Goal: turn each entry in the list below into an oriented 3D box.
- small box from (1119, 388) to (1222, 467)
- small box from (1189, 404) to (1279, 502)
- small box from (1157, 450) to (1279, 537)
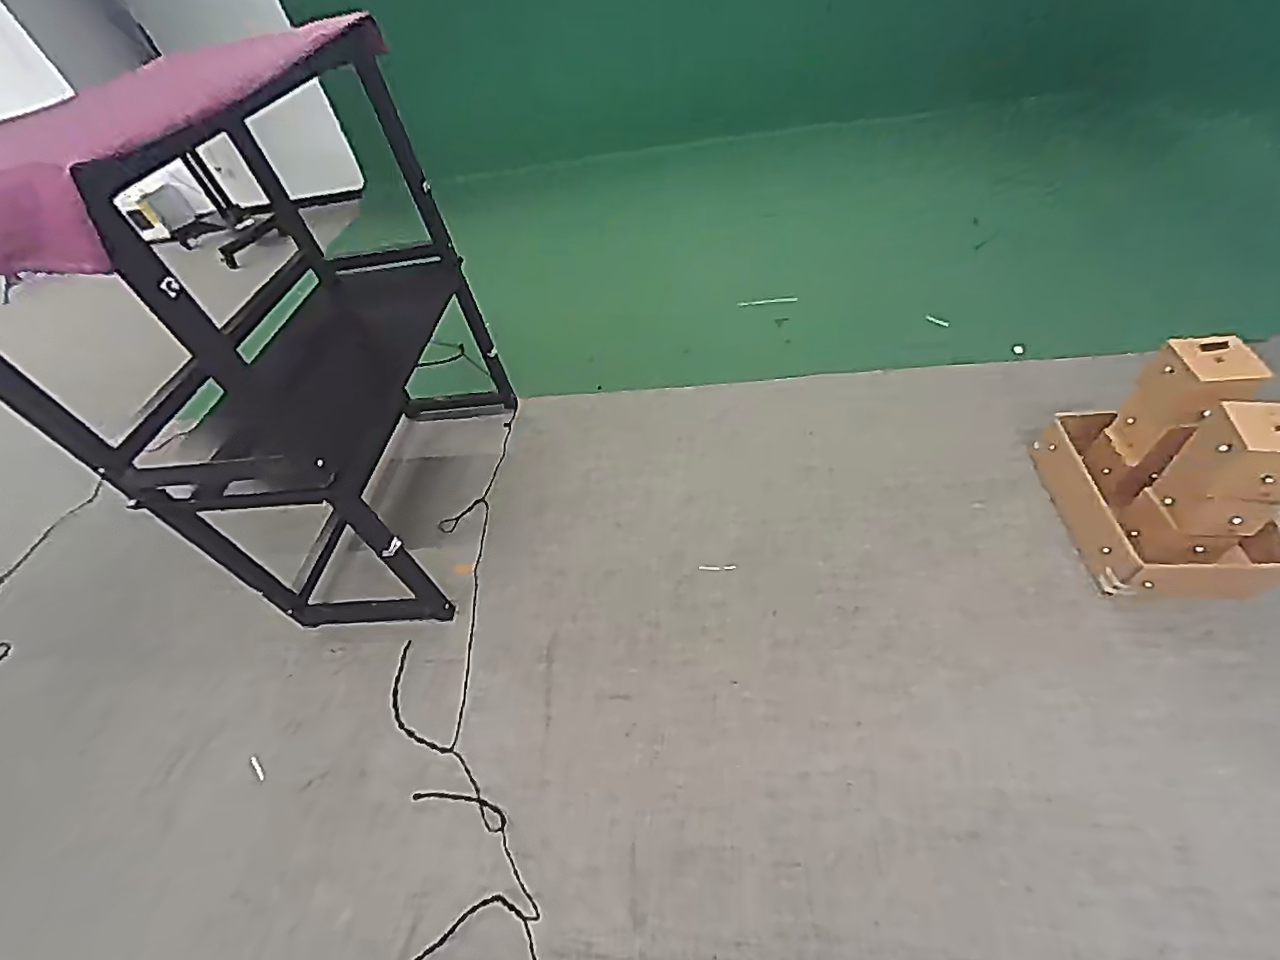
[{"bbox_3d":[1.580,-0.151,1.605,0.179,0.176,0.168,-4,50,9],"label":"small box"},{"bbox_3d":[1.503,-0.063,1.311,0.168,0.176,0.179,6,50,18],"label":"small box"},{"bbox_3d":[1.546,0.038,1.436,0.168,0.176,0.179,0,49,13],"label":"small box"}]
